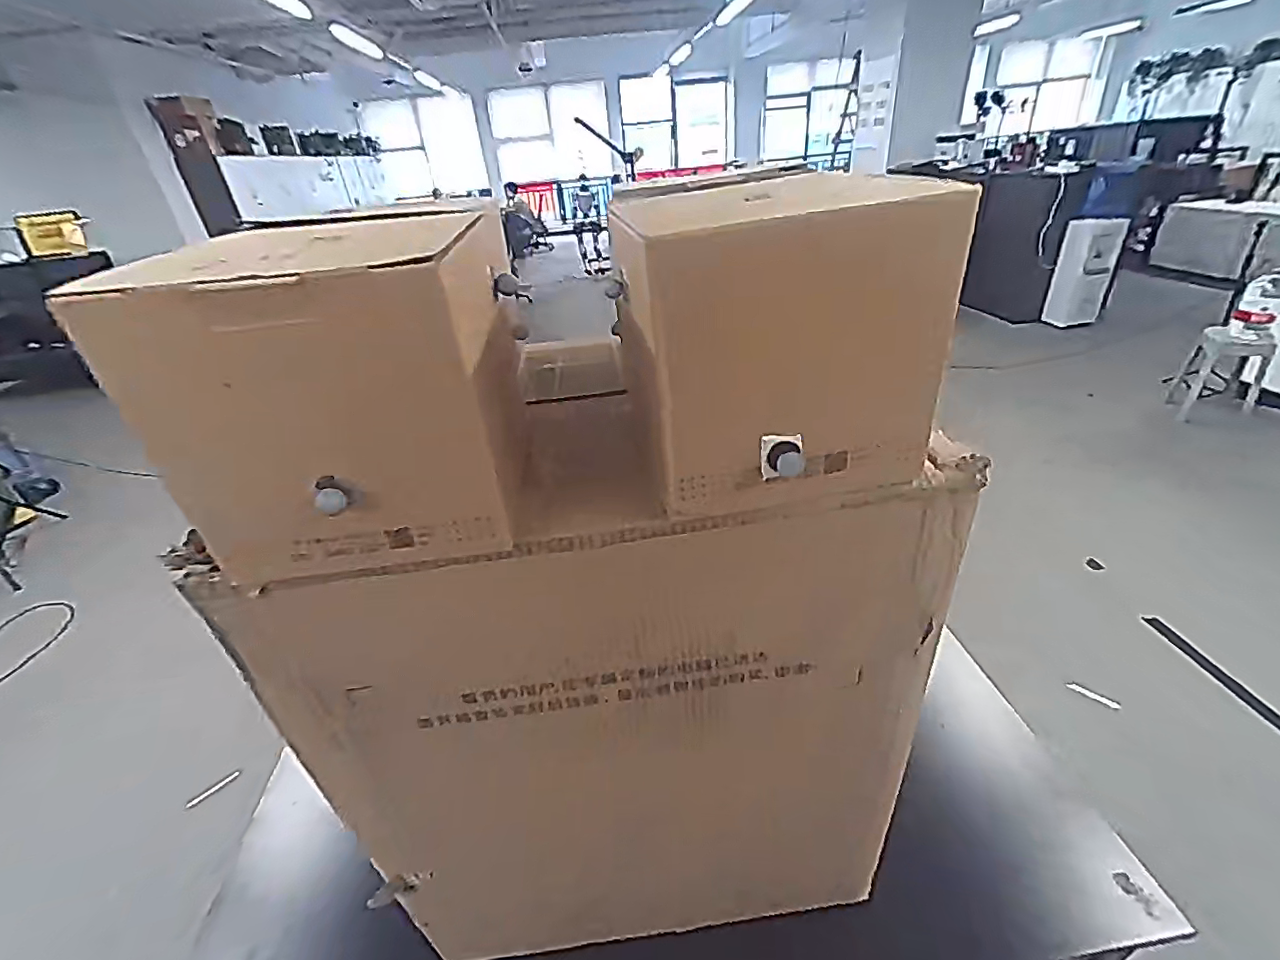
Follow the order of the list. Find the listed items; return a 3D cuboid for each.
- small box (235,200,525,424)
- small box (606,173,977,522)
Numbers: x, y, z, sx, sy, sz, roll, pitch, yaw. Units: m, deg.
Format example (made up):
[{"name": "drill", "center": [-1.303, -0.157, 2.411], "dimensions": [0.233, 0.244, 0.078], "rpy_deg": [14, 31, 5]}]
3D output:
[{"name": "small box", "center": [-0.217, -0.161, 0.511], "dimensions": [0.179, 0.176, 0.168], "rpy_deg": [-6, 30, -3]}, {"name": "small box", "center": [0.076, -0.097, 0.362], "dimensions": [0.168, 0.176, 0.179], "rpy_deg": [-11, 33, -4]}]
